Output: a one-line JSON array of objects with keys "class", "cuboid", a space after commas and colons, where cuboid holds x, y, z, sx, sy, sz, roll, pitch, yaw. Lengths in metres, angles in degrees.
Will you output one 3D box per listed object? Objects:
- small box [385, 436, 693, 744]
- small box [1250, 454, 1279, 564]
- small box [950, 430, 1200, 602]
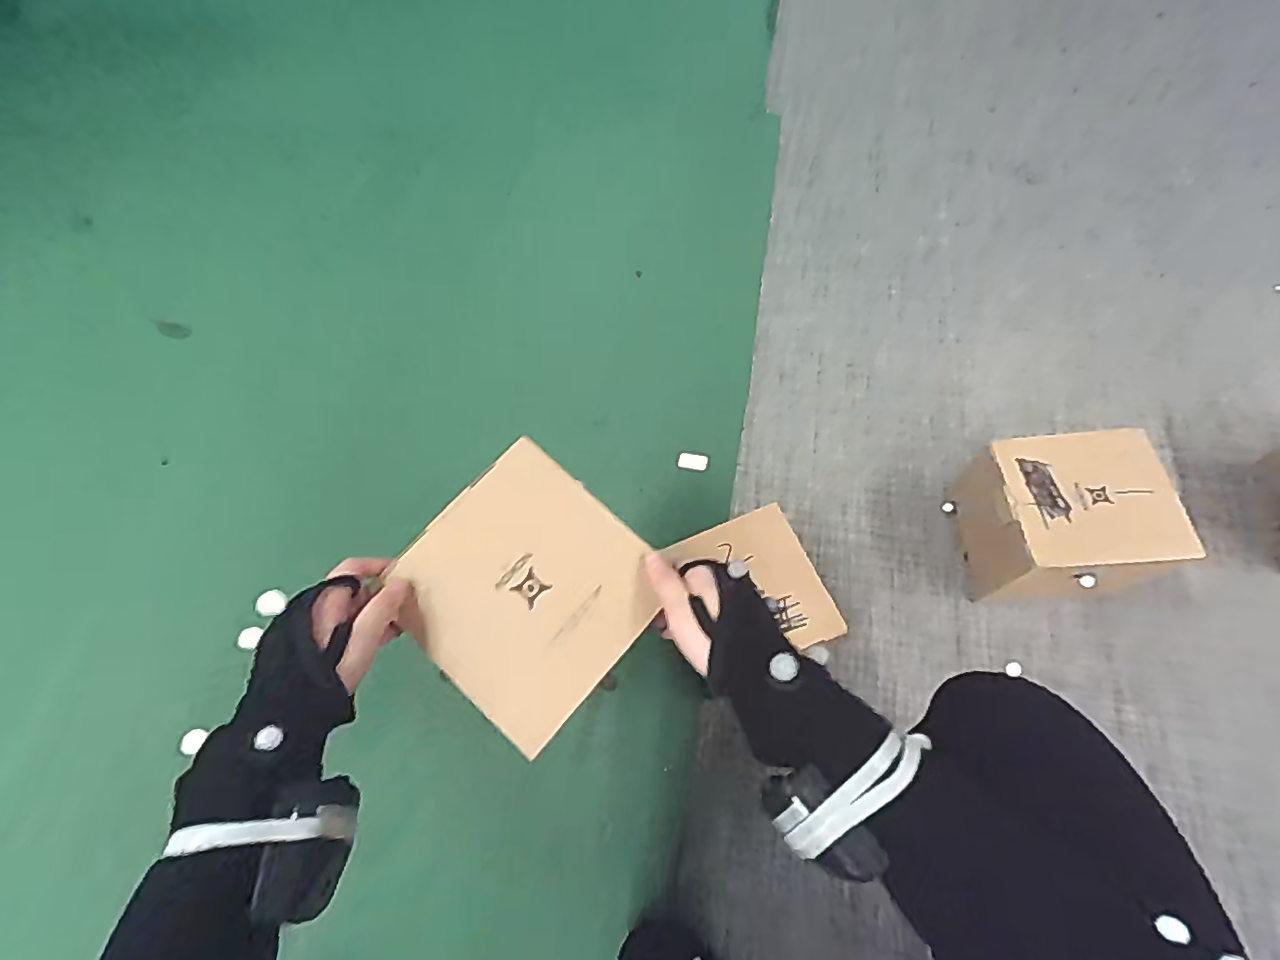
[{"class": "small box", "cuboid": [-0.078, 0.098, 0.482, 0.179, 0.176, 0.168, 41, 76, 10]}, {"class": "small box", "cuboid": [0.922, 0.023, 0.648, 0.179, 0.176, 0.168, 6, 64, 12]}, {"class": "small box", "cuboid": [0.528, 0.055, 0.697, 0.179, 0.176, 0.168, -5, 63, 6]}]
